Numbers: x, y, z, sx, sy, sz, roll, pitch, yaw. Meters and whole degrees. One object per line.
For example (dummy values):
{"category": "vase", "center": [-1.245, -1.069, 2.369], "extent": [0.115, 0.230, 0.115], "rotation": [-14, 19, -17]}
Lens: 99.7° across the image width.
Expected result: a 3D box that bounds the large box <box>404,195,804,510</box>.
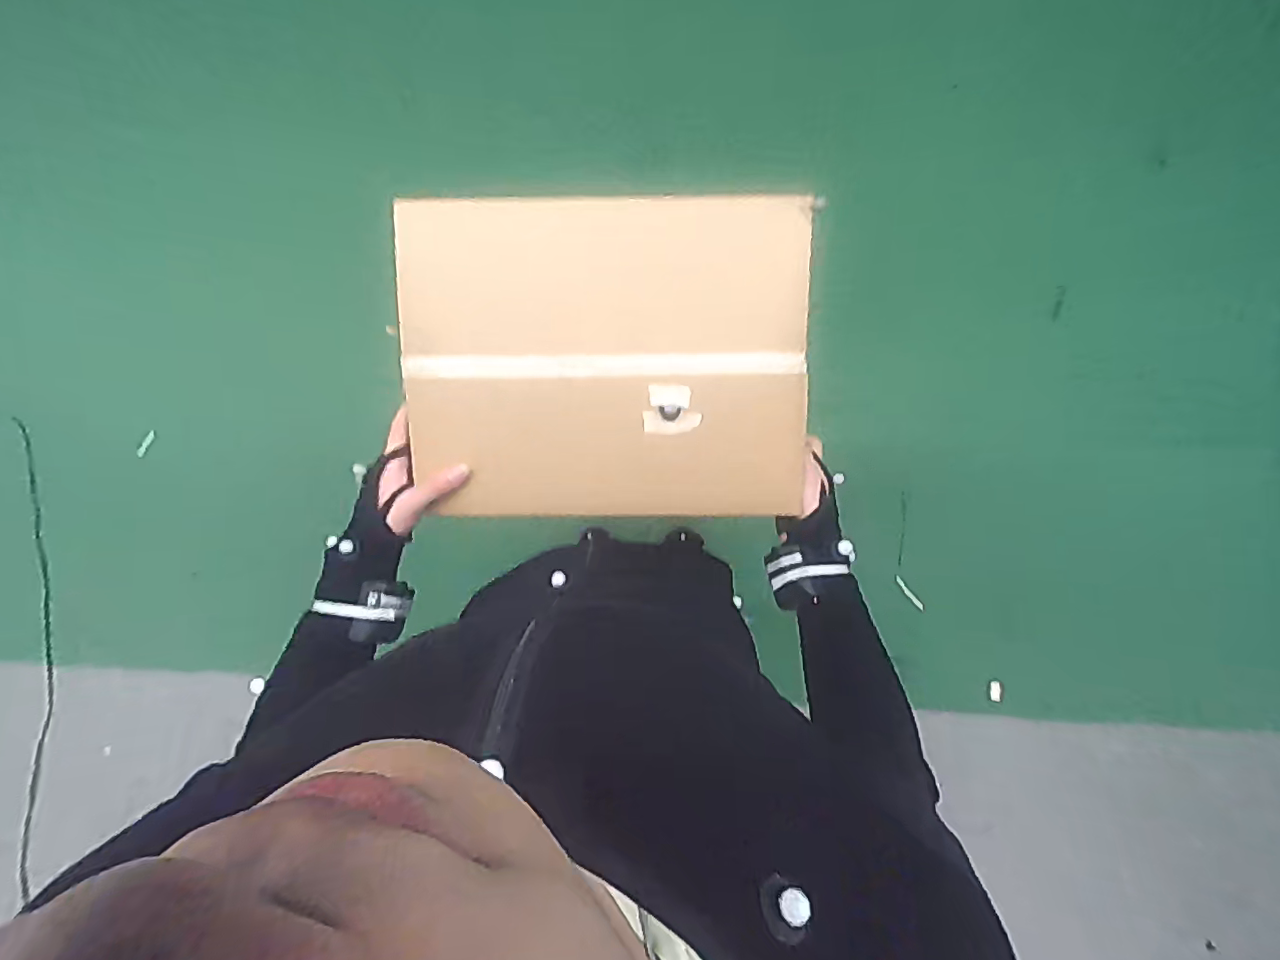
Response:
{"category": "large box", "center": [-0.034, -0.146, 0.700], "extent": [0.408, 0.320, 0.320], "rotation": [-1, 99, 0]}
